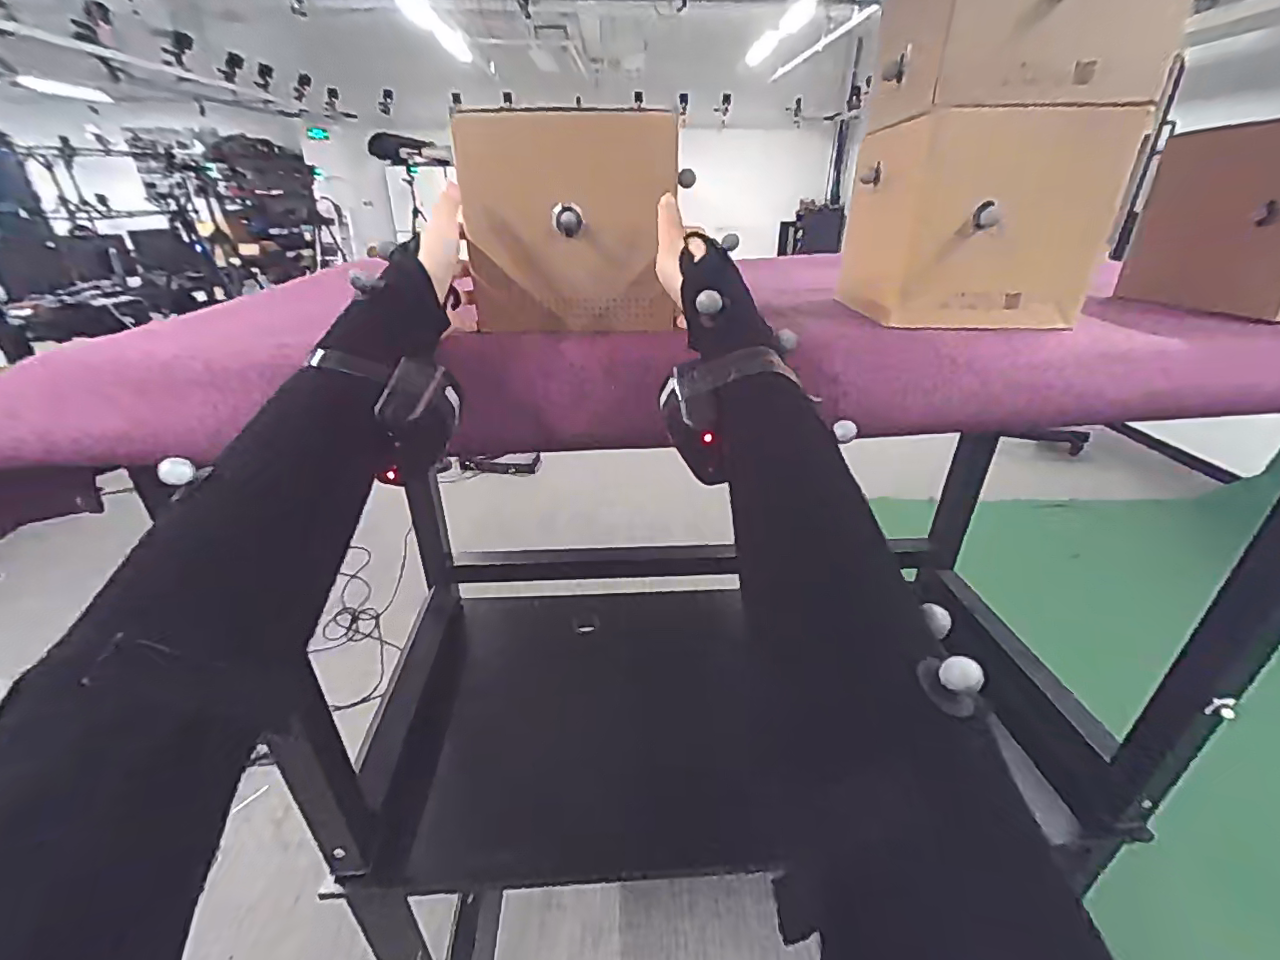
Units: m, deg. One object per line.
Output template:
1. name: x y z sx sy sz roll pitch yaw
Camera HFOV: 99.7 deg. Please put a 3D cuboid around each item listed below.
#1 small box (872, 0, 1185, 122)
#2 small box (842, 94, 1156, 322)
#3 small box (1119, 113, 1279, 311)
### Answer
1. small box: 0.311 -0.397 0.441 0.168 0.176 0.179 2 27 3
2. small box: 0.308 -0.250 0.515 0.168 0.176 0.179 1 27 2
3. small box: 0.650 -0.262 0.538 0.168 0.176 0.179 -2 26 -4
